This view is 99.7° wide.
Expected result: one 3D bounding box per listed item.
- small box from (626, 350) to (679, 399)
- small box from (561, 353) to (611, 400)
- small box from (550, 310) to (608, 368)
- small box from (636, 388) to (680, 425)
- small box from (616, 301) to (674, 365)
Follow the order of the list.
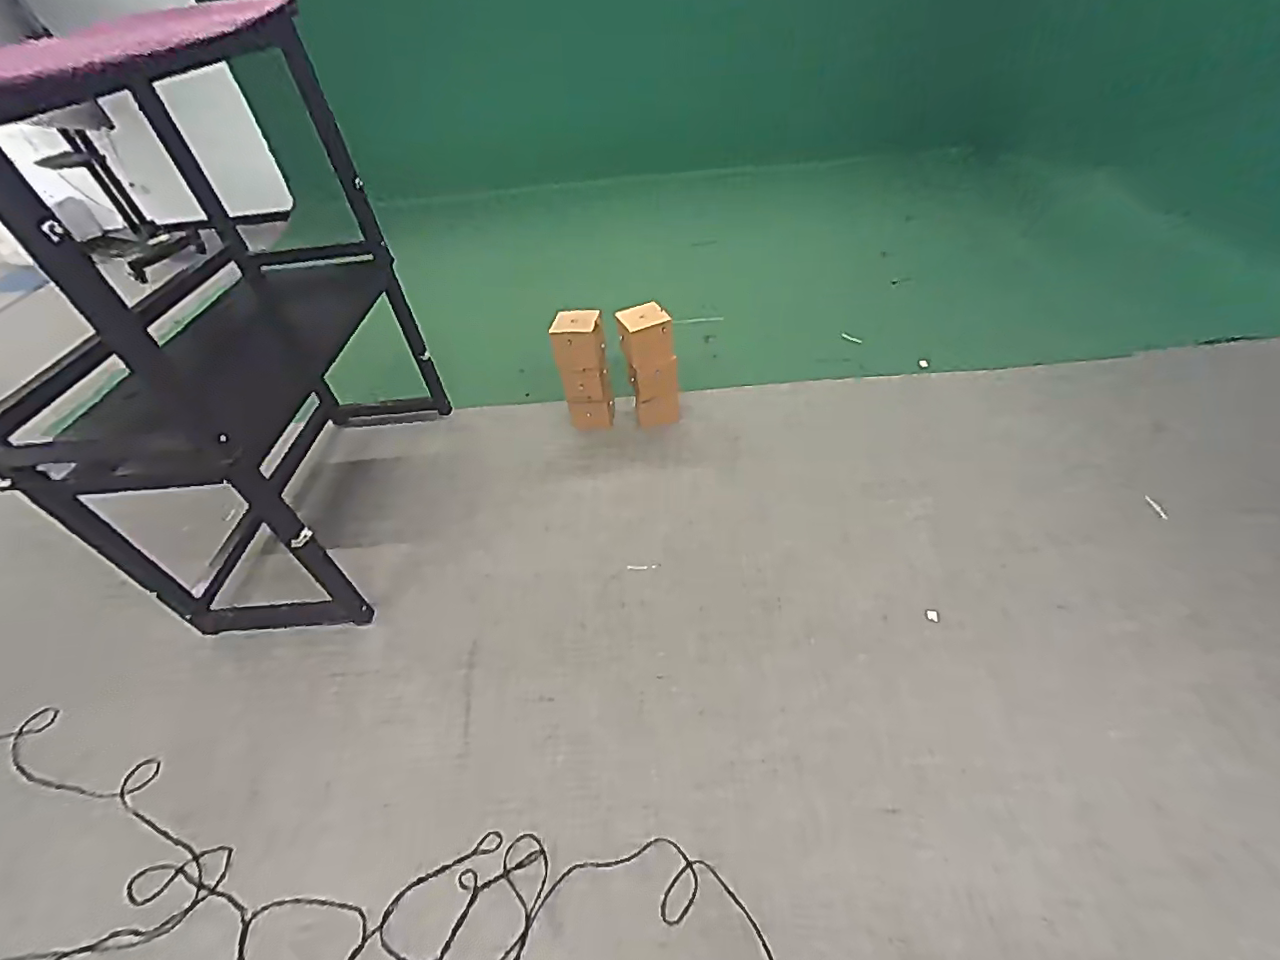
[{"bbox_3d":[0.055,-0.462,2.252,0.179,0.176,0.168,-18,48,-11],"label":"small box"},{"bbox_3d":[-0.222,-0.451,2.276,0.168,0.176,0.179,0,46,9],"label":"small box"},{"bbox_3d":[-0.238,-0.560,2.151,0.179,0.176,0.168,2,46,11],"label":"small box"},{"bbox_3d":[0.078,-0.357,2.373,0.179,0.176,0.168,-9,45,-2],"label":"small box"},{"bbox_3d":[0.024,-0.578,2.140,0.179,0.176,0.168,-21,48,-14],"label":"small box"}]
